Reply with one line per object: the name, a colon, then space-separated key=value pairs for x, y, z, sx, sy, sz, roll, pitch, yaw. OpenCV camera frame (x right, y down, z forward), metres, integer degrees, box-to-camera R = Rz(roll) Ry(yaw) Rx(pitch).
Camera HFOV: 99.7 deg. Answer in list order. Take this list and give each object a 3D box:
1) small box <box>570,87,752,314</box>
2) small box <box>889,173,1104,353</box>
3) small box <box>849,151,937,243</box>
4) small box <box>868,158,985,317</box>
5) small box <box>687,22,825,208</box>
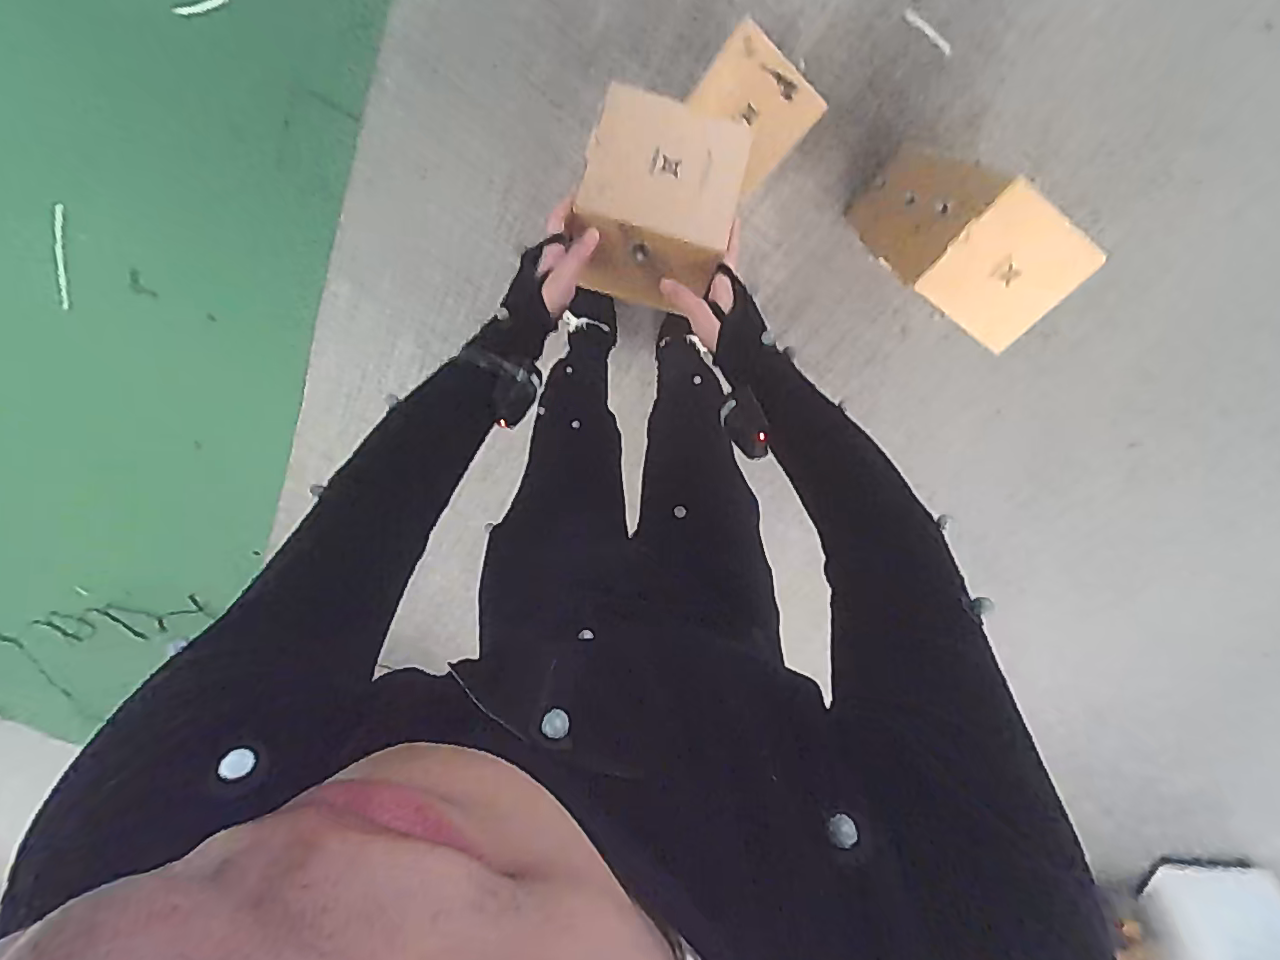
small box: x=0.018 y=-0.333 z=0.678 sx=0.179 sy=0.168 sz=0.176 roll=14 pitch=170 yaw=-4
small box: x=0.506 y=-0.325 z=0.796 sx=0.179 sy=0.176 sz=0.168 roll=31 pitch=123 yaw=-12
small box: x=0.540 y=-0.514 z=1.059 sx=0.179 sy=0.176 sz=0.168 roll=31 pitch=123 yaw=-12
small box: x=0.519 y=-0.419 z=0.928 sx=0.168 sy=0.176 sz=0.179 roll=32 pitch=122 yaw=-13
small box: x=0.170 y=-0.580 z=0.874 sx=0.168 sy=0.176 sz=0.179 roll=37 pitch=122 yaw=-16
